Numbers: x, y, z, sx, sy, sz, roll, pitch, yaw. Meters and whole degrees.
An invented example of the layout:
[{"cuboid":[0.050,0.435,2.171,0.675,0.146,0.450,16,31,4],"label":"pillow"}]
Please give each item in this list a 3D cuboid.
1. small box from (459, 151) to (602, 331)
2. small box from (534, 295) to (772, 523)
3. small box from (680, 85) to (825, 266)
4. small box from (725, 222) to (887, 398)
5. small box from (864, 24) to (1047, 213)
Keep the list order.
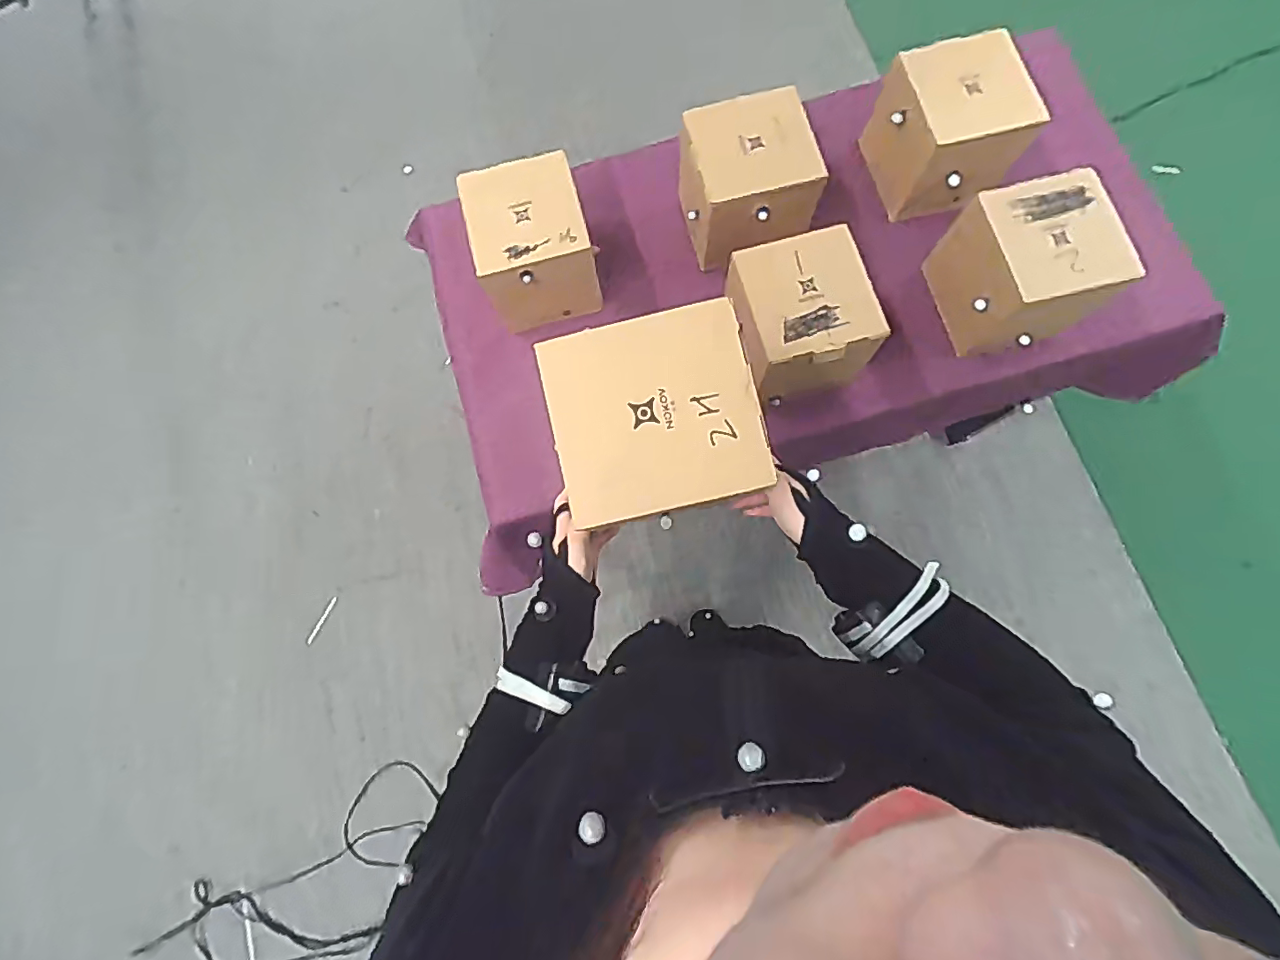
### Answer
[{"cuboid":[-0.165,-0.367,0.853,0.168,0.176,0.179,-15,76,0],"label":"small box"},{"cuboid":[0.014,-0.053,0.529,0.179,0.176,0.168,-12,85,2],"label":"small box"},{"cuboid":[0.166,-0.469,0.858,0.179,0.176,0.168,-13,77,0],"label":"small box"},{"cuboid":[0.229,-0.235,0.798,0.168,0.176,0.179,-15,75,0],"label":"small box"},{"cuboid":[0.482,-0.556,0.858,0.168,0.176,0.179,-14,76,1],"label":"small box"}]
